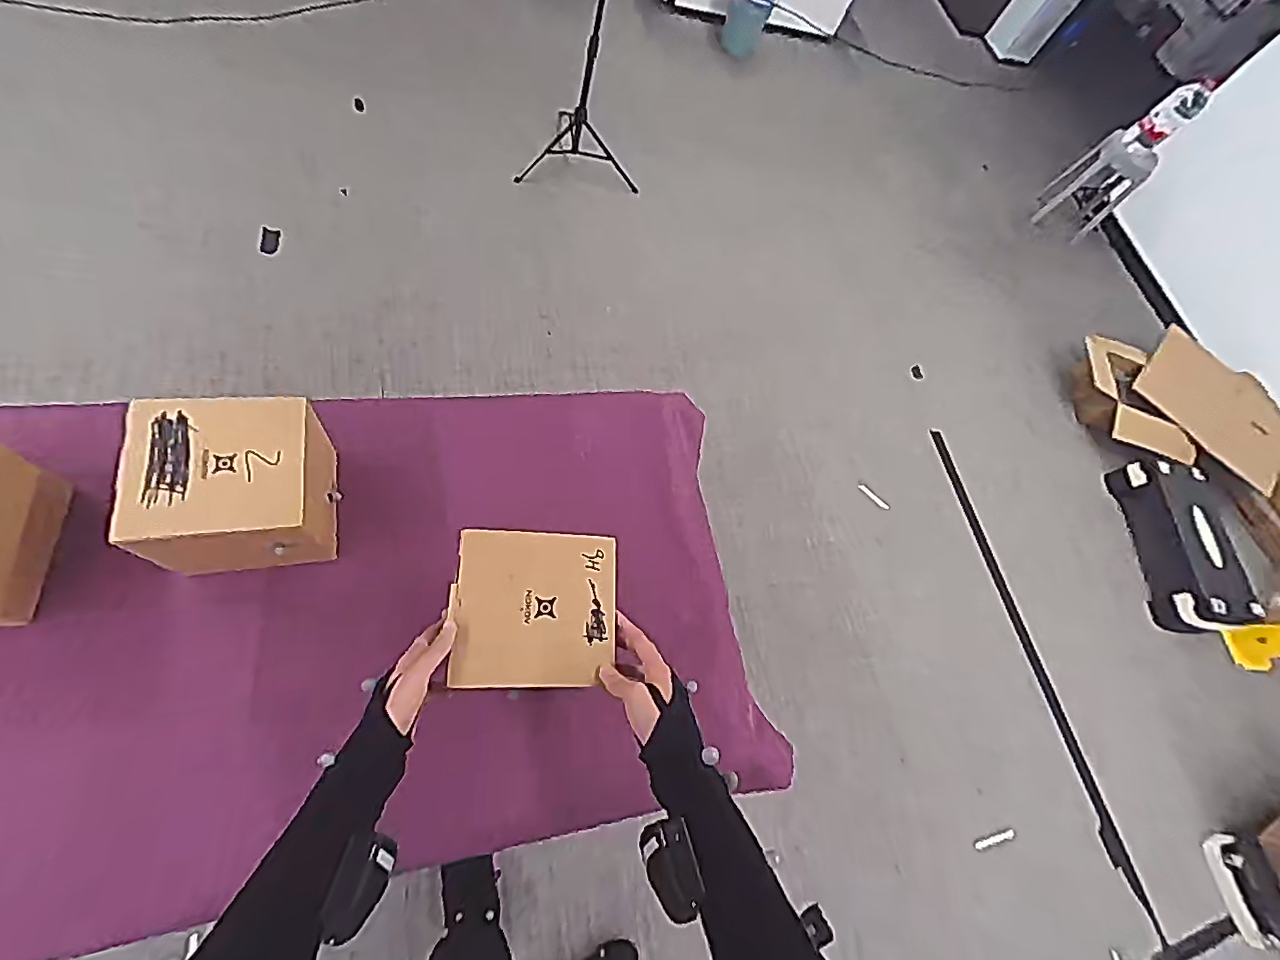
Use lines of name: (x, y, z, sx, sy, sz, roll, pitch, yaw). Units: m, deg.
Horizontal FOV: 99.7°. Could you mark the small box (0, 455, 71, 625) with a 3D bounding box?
small box: (-0.766, 0.057, 0.566, 0.168, 0.176, 0.179, 2, 67, -17)
